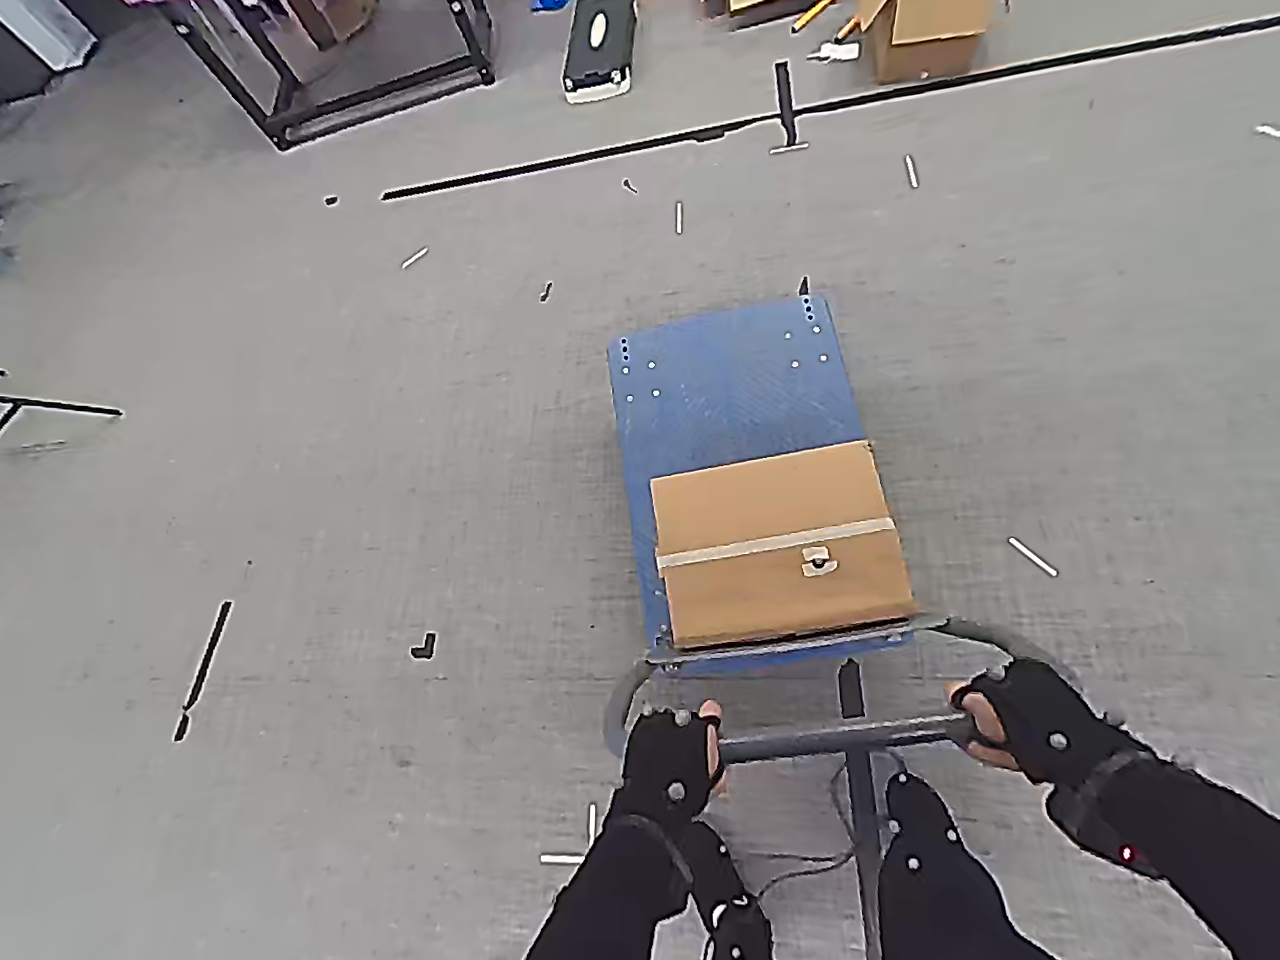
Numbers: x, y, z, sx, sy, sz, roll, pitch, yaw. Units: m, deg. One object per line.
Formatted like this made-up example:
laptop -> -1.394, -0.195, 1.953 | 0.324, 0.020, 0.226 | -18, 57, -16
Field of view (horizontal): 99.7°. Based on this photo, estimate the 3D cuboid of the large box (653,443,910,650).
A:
large box -> 0.263, 0.153, 1.111 | 0.408, 0.320, 0.320 | -11, 75, 7
